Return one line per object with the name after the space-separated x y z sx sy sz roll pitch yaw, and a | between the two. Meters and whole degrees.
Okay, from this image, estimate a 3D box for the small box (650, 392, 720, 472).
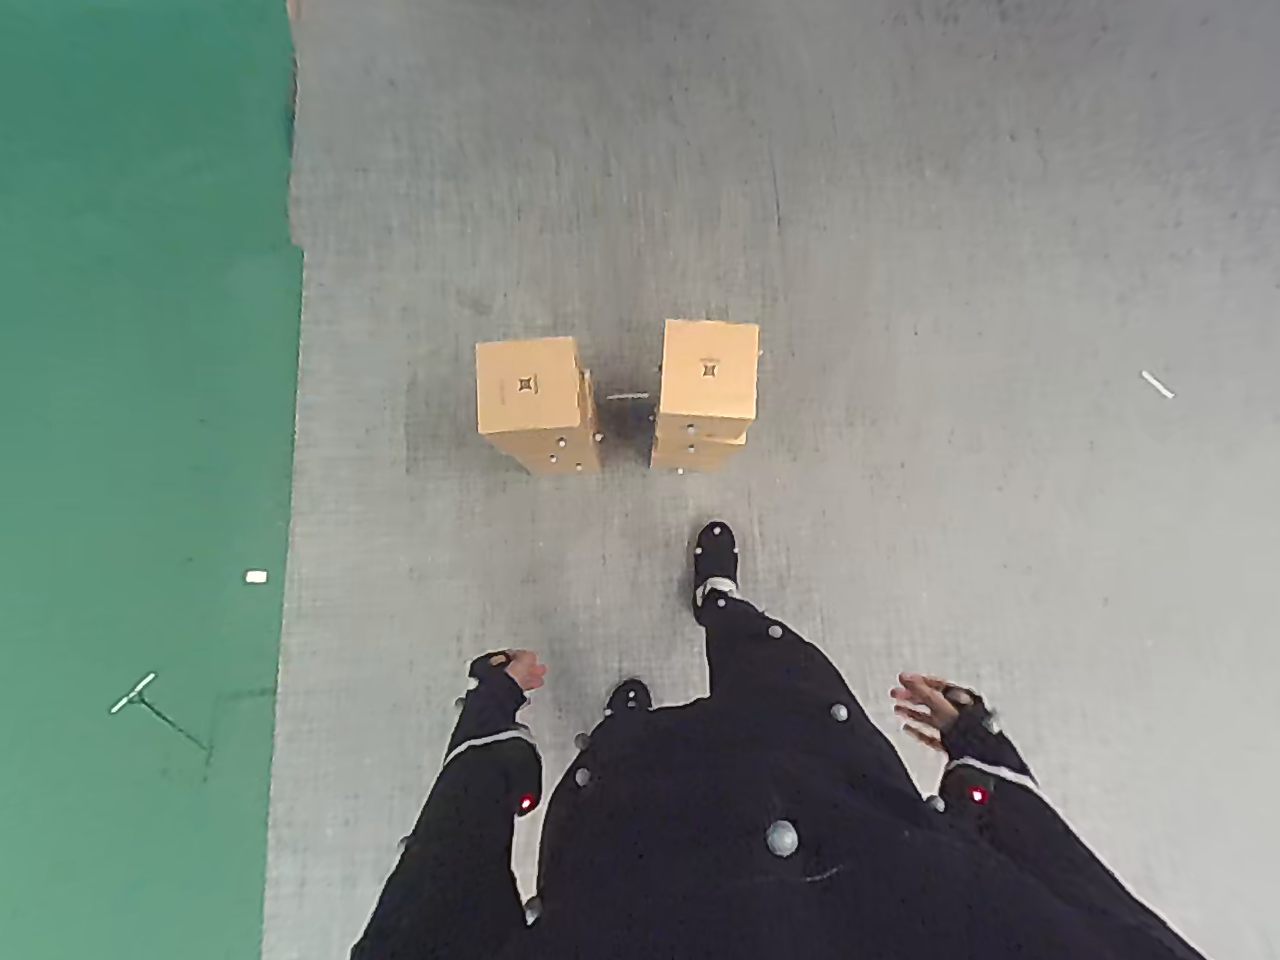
0.114 -0.127 1.338 0.168 0.176 0.179 6 81 2 | small box

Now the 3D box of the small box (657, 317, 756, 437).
0.118 -0.184 1.016 0.168 0.176 0.179 3 80 1 | small box

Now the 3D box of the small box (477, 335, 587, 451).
-0.193 -0.155 1.009 0.179 0.176 0.168 -4 80 0 | small box

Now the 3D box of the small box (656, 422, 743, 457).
0.130 -0.151 1.176 0.179 0.176 0.168 6 81 2 | small box
